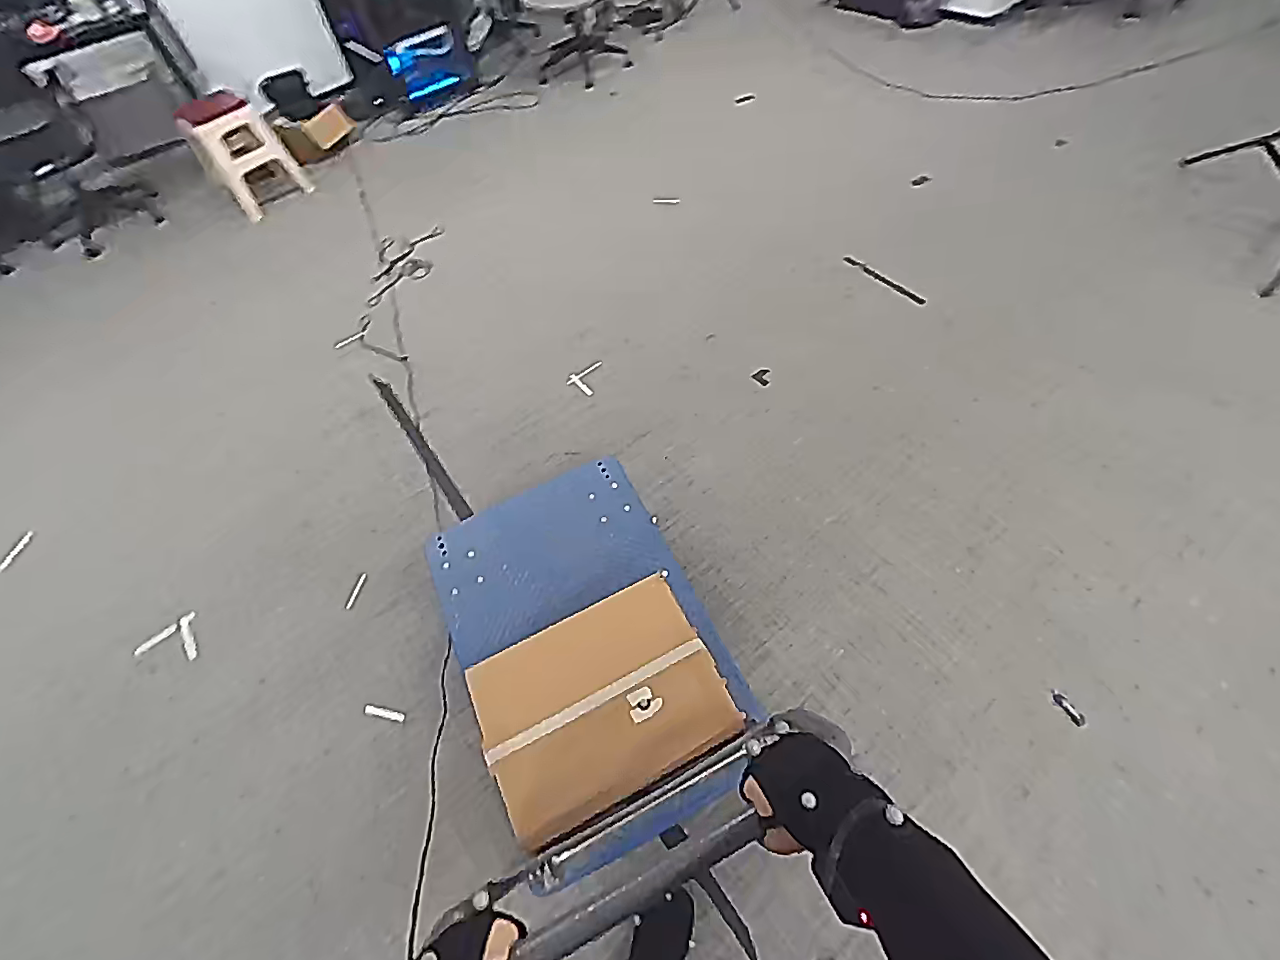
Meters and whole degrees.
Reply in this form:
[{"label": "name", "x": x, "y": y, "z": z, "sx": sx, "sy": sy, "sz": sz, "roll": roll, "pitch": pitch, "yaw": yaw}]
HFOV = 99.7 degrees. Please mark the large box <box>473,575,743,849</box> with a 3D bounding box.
[{"label": "large box", "x": -0.055, "y": 0.461, "z": 1.080, "sx": 0.408, "sy": 0.320, "sz": 0.320, "roll": -25, "pitch": 61, "yaw": -11}]
